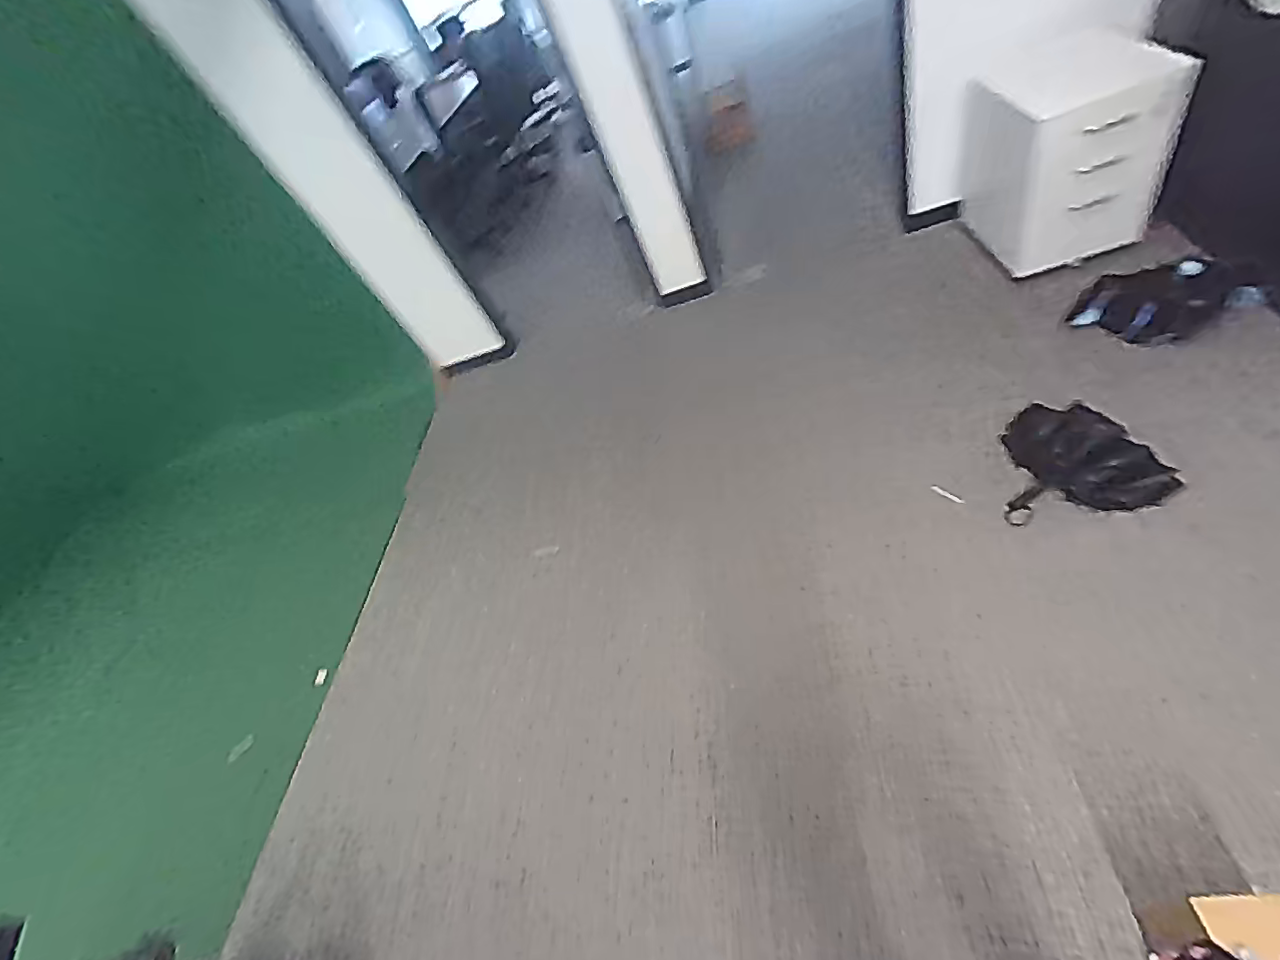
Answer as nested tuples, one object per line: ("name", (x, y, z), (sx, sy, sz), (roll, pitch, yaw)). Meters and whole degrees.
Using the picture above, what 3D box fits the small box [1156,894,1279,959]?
("small box", (0.914, 0.707, 0.781), (0.179, 0.176, 0.168), (-15, 46, 16))

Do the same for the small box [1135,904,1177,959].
("small box", (0.980, 0.809, 0.893), (0.179, 0.176, 0.168), (-15, 45, 17))
